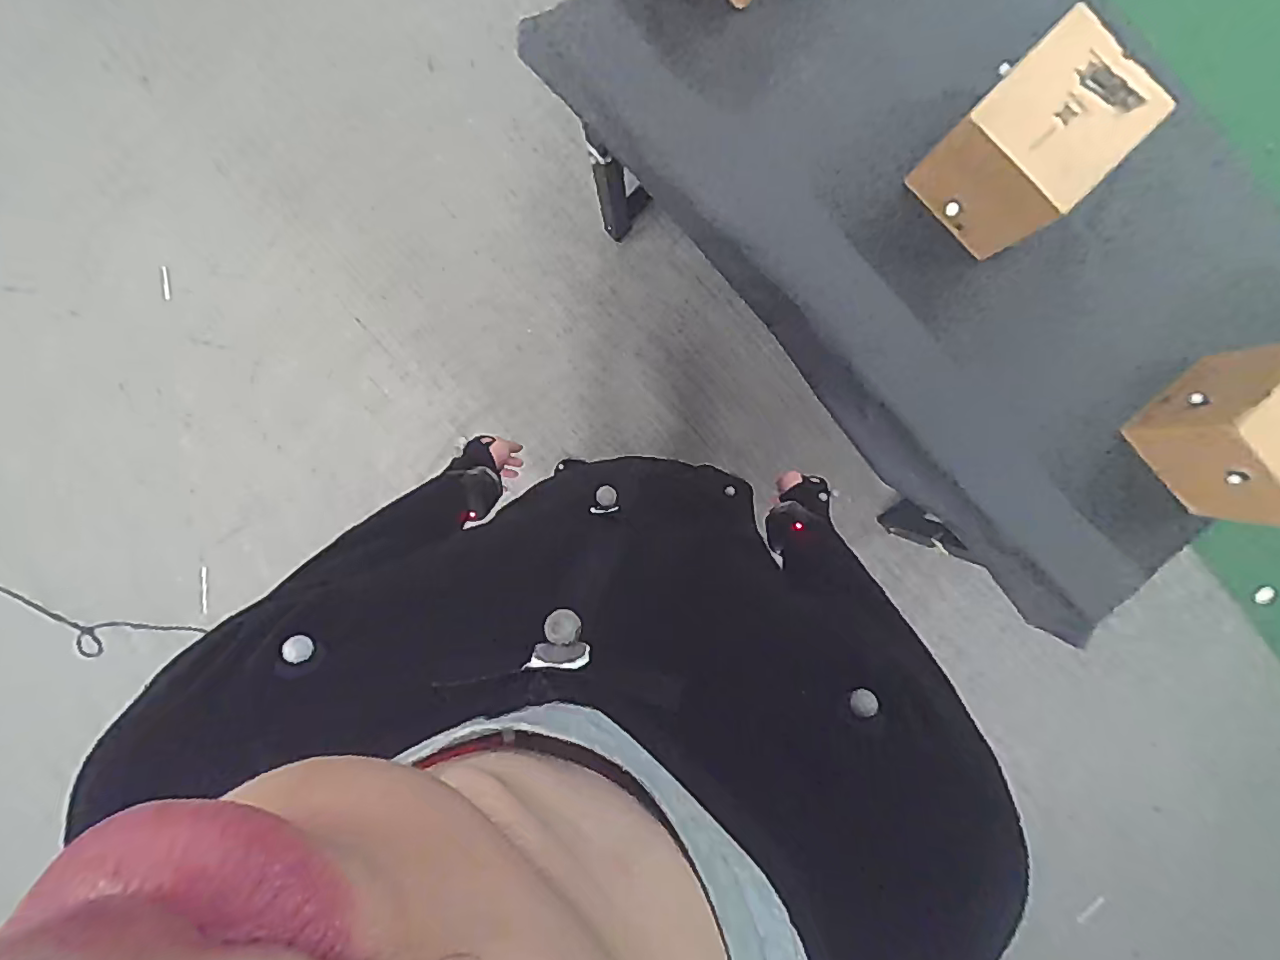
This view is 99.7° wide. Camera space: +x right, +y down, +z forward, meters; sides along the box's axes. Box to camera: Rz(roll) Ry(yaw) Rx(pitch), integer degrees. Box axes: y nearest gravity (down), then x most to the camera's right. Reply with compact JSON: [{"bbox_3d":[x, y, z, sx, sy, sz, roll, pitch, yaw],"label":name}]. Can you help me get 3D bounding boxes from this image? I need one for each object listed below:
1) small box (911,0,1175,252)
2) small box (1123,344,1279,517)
[{"bbox_3d":[0.497,-0.436,0.698,0.179,0.176,0.168,-45,92,5],"label":"small box"},{"bbox_3d":[0.820,-0.064,0.721,0.168,0.176,0.179,-42,93,5],"label":"small box"}]
